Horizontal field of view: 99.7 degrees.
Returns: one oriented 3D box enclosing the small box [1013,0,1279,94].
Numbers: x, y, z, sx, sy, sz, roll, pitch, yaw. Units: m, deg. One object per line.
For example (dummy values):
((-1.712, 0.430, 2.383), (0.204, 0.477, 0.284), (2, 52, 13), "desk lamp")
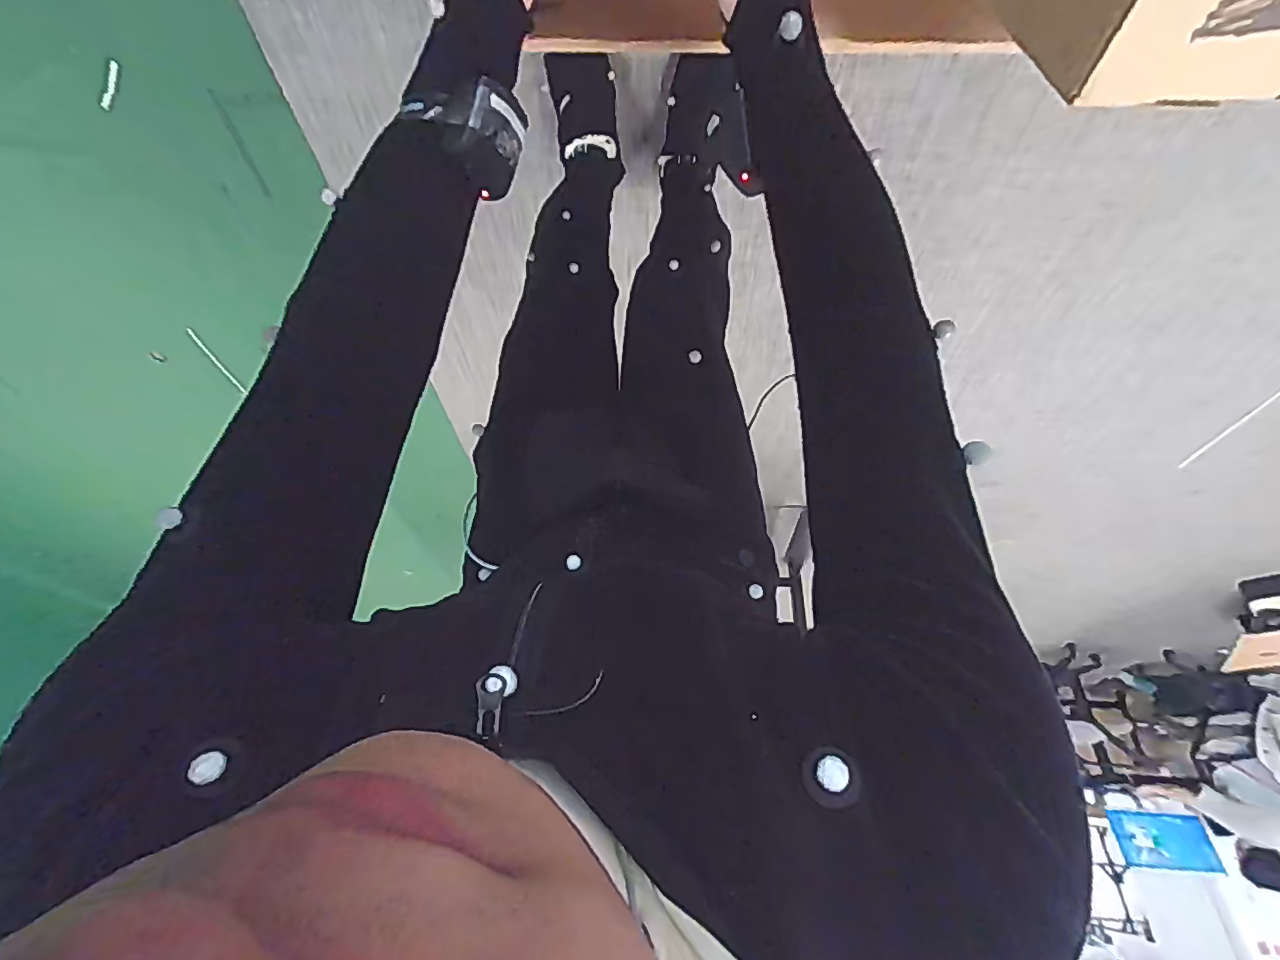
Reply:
((0.249, -0.263, 0.179), (0.168, 0.176, 0.179), (1, 147, 1), "small box")
